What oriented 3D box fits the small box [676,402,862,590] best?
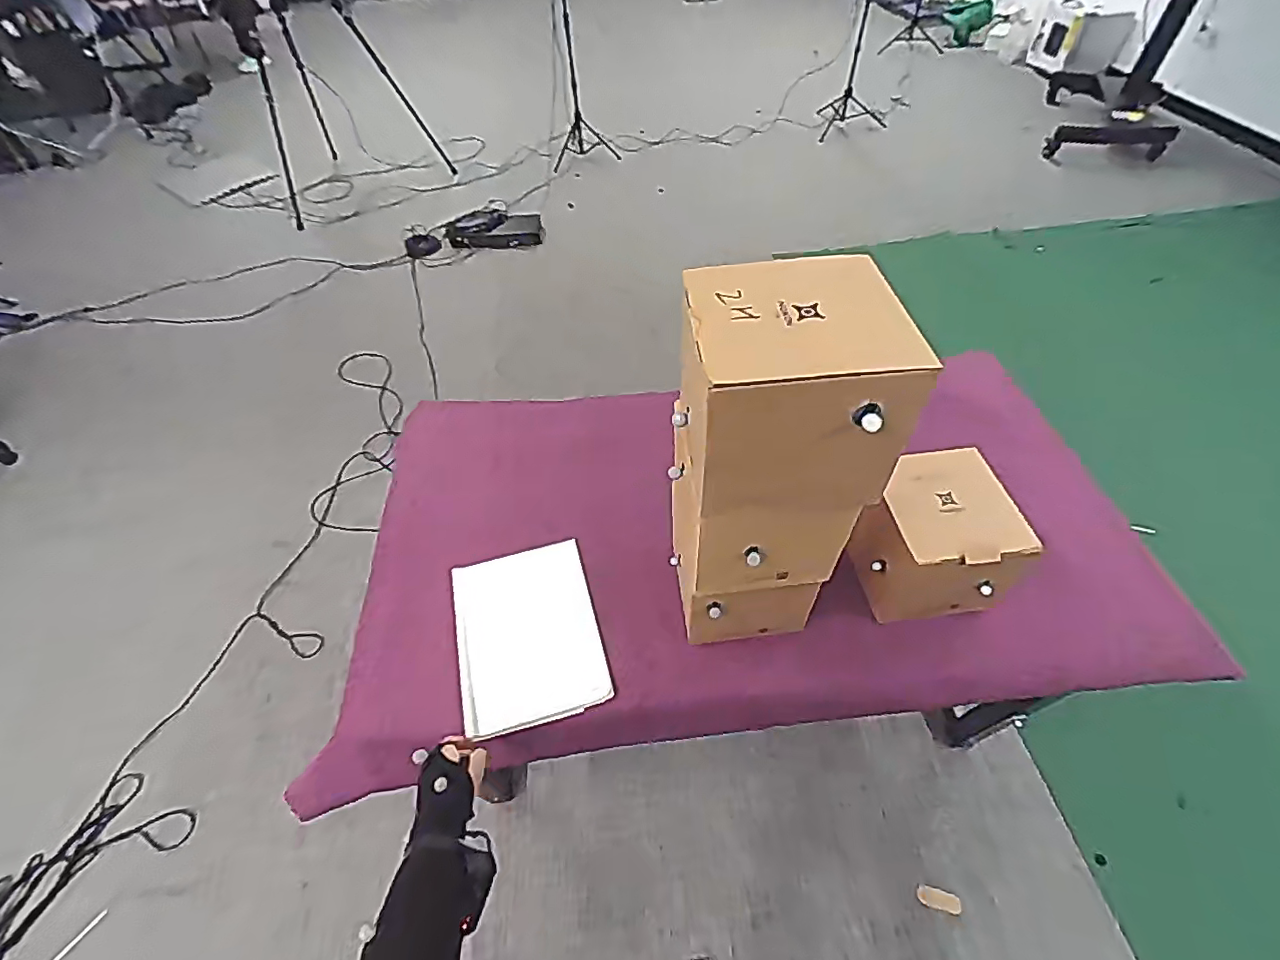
[{"bbox_3d":[0.136,0.018,0.639,0.168,0.176,0.179,-6,50,-1],"label":"small box"}]

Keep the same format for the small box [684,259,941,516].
[{"bbox_3d":[0.136,-0.082,0.507,0.179,0.176,0.168,-5,50,1],"label":"small box"}]

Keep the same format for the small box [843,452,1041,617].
[{"bbox_3d":[0.412,0.085,0.778,0.168,0.176,0.179,-5,50,-2],"label":"small box"}]
